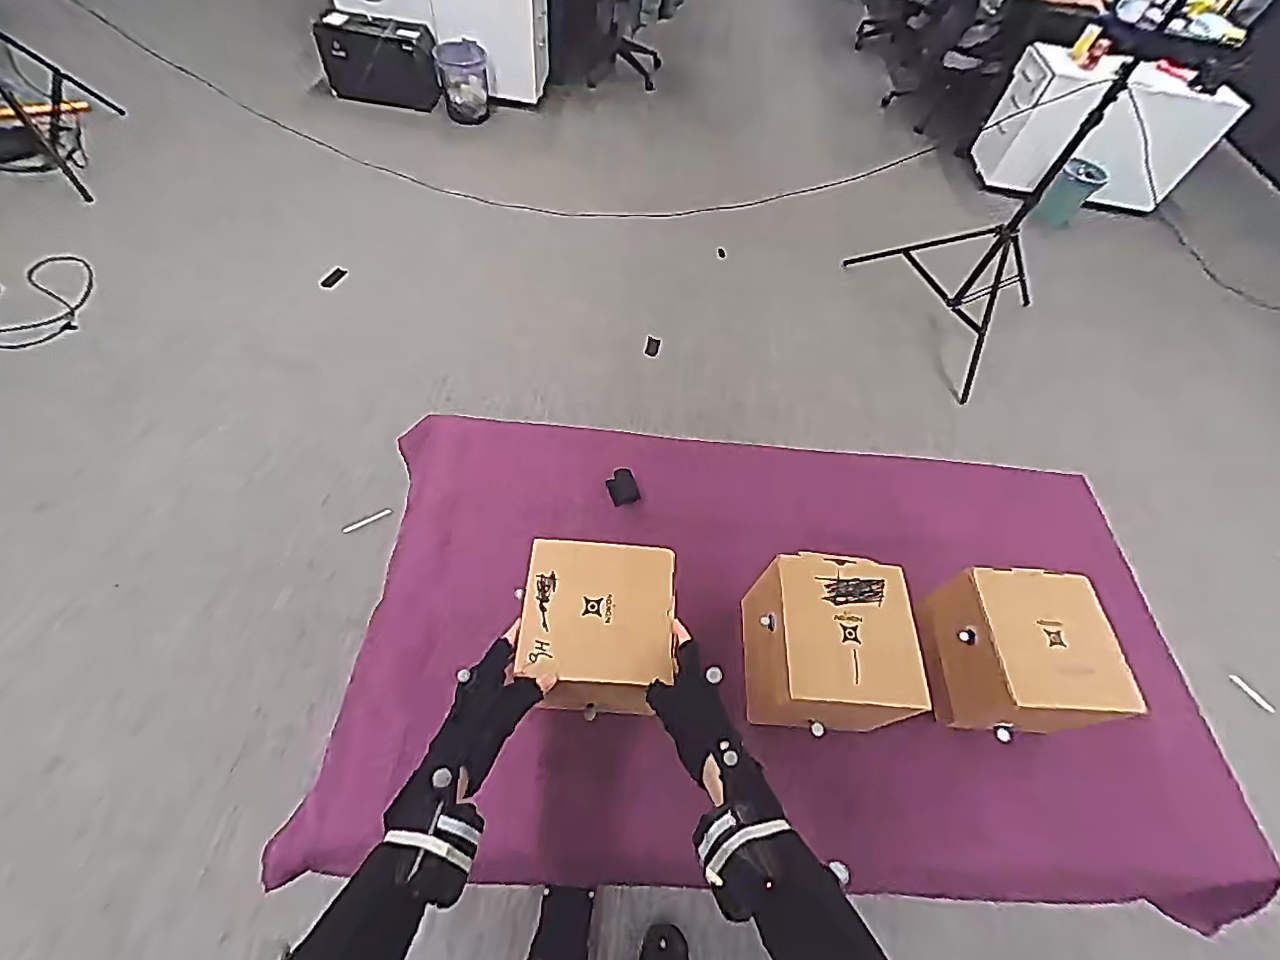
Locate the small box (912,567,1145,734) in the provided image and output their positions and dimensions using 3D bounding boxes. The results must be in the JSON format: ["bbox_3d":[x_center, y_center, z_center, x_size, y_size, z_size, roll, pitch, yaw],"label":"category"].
[{"bbox_3d":[0.505,0.237,0.740,0.168,0.176,0.179,4,57,-4],"label":"small box"}]

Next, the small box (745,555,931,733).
[{"bbox_3d":[0.241,0.220,0.712,0.168,0.176,0.179,6,56,-4],"label":"small box"}]

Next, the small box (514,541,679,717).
[{"bbox_3d":[-0.052,0.196,0.686,0.179,0.176,0.168,6,56,-3],"label":"small box"}]
